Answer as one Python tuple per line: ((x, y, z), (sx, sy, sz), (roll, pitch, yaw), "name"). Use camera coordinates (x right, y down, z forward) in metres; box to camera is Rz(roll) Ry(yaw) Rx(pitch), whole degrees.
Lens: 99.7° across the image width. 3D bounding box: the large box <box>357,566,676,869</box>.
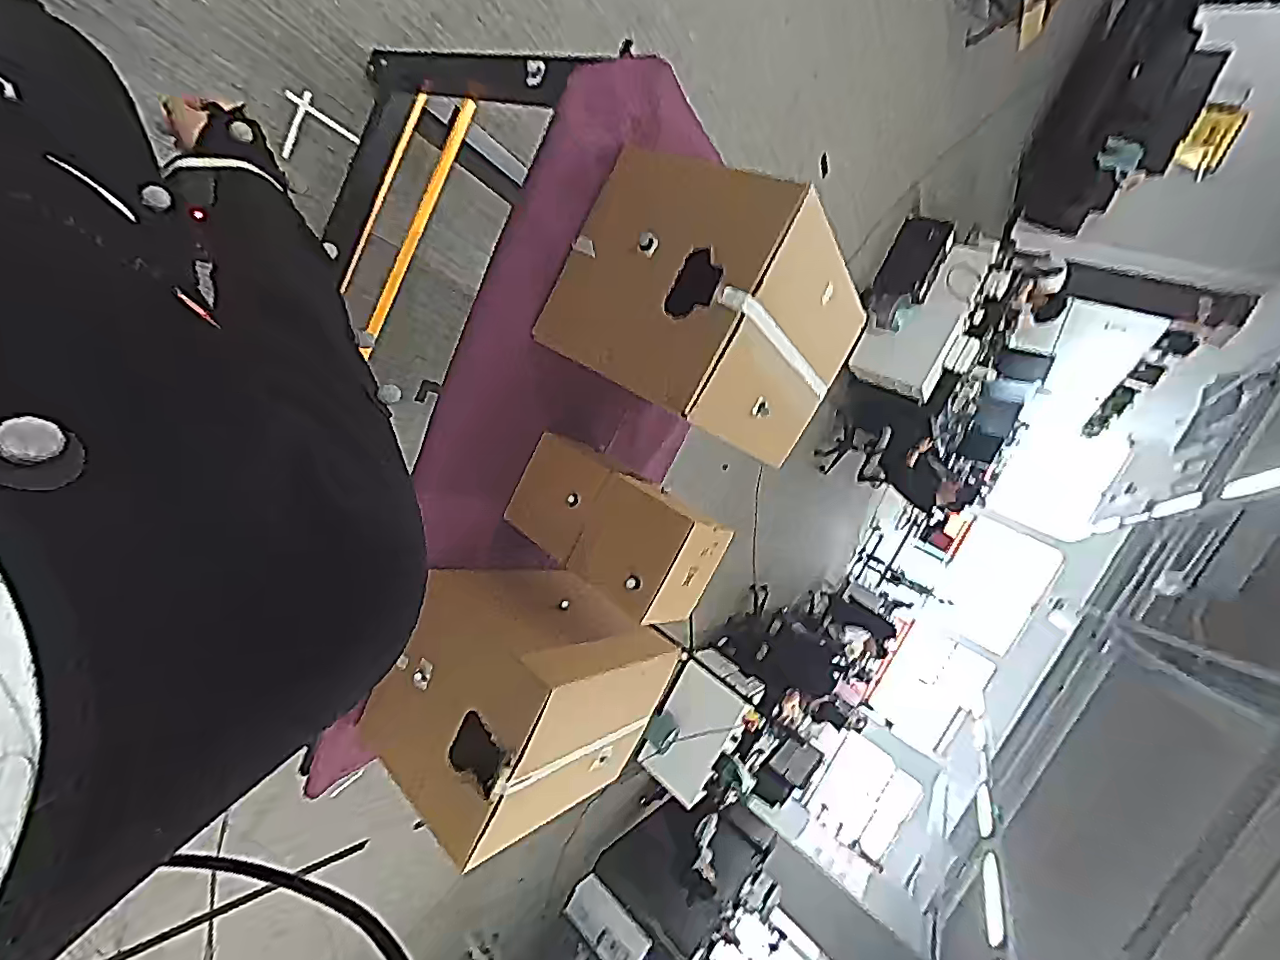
((-0.203, 0.365, 0.972), (0.408, 0.320, 0.320), (14, 104, -60), "large box")
